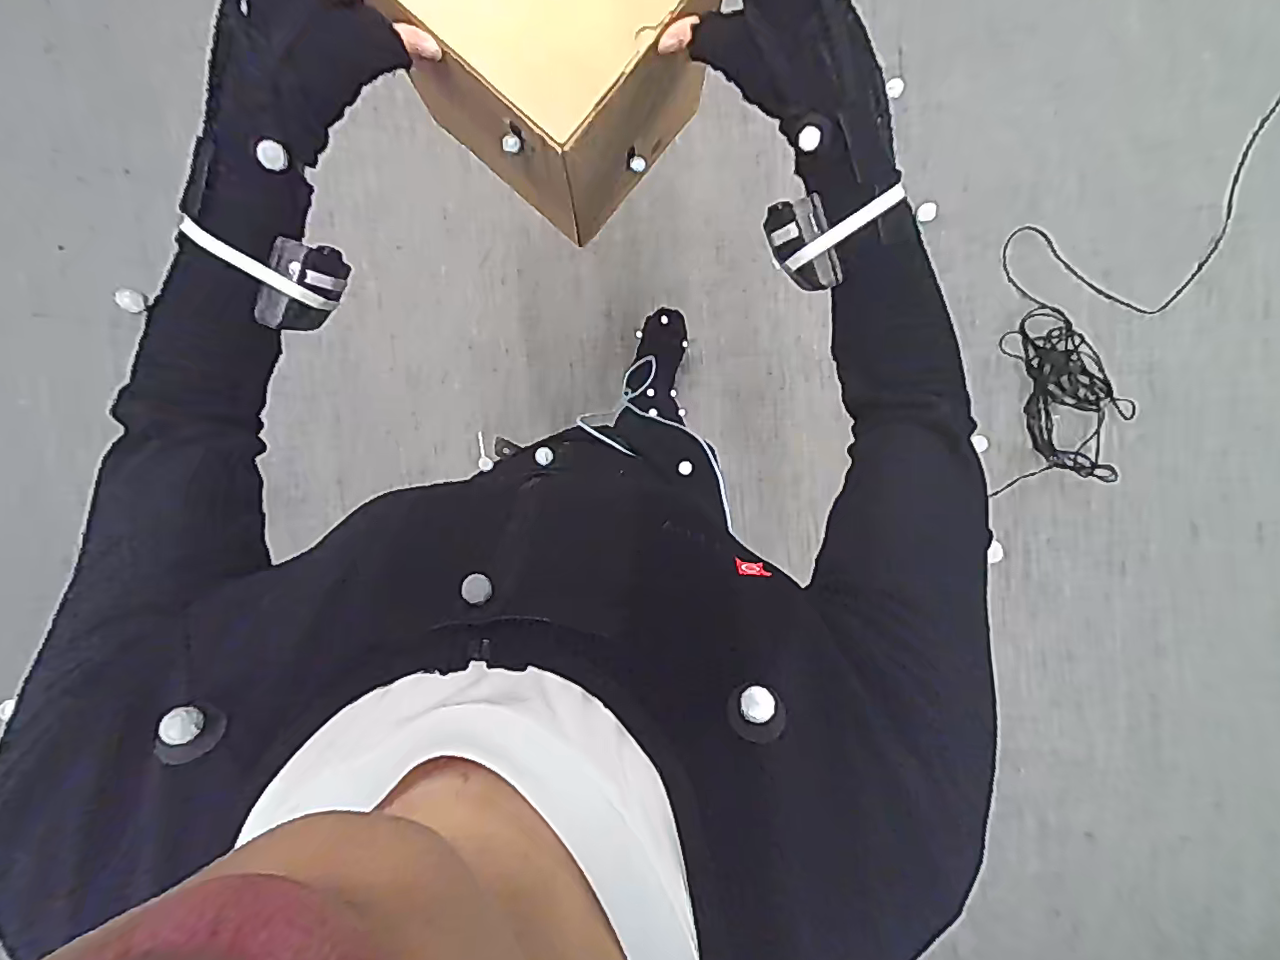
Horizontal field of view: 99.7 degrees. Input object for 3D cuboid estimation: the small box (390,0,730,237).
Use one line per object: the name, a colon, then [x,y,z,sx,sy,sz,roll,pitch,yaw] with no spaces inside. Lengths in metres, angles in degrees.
small box: [-0.060,-0.325,0.410,0.179,0.176,0.168,41,90,-6]
